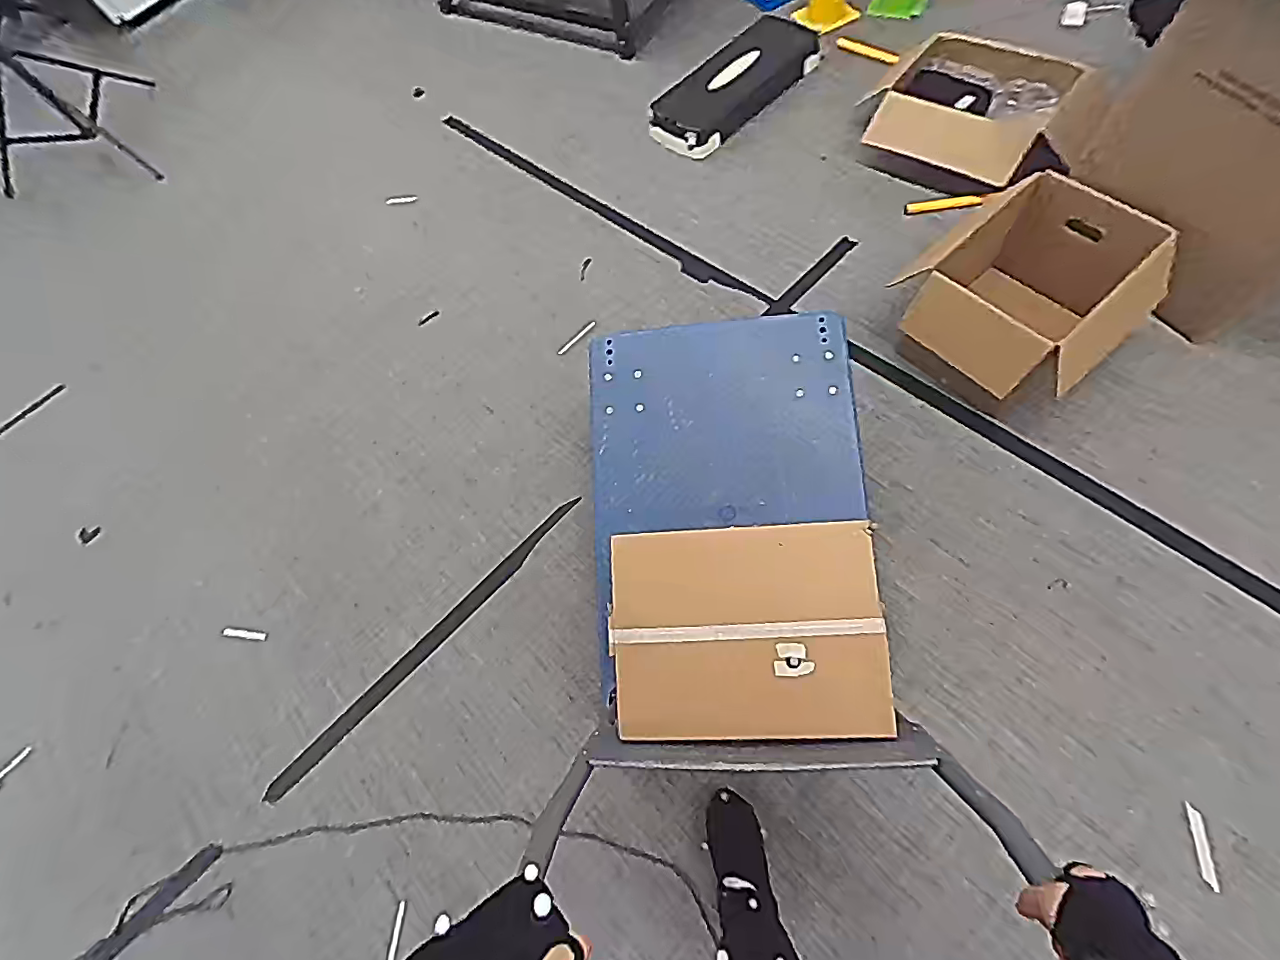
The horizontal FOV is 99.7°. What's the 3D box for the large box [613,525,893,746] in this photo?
[{"bbox_3d":[0.178,0.265,0.972,0.408,0.320,0.320,-4,79,6],"label":"large box"}]
